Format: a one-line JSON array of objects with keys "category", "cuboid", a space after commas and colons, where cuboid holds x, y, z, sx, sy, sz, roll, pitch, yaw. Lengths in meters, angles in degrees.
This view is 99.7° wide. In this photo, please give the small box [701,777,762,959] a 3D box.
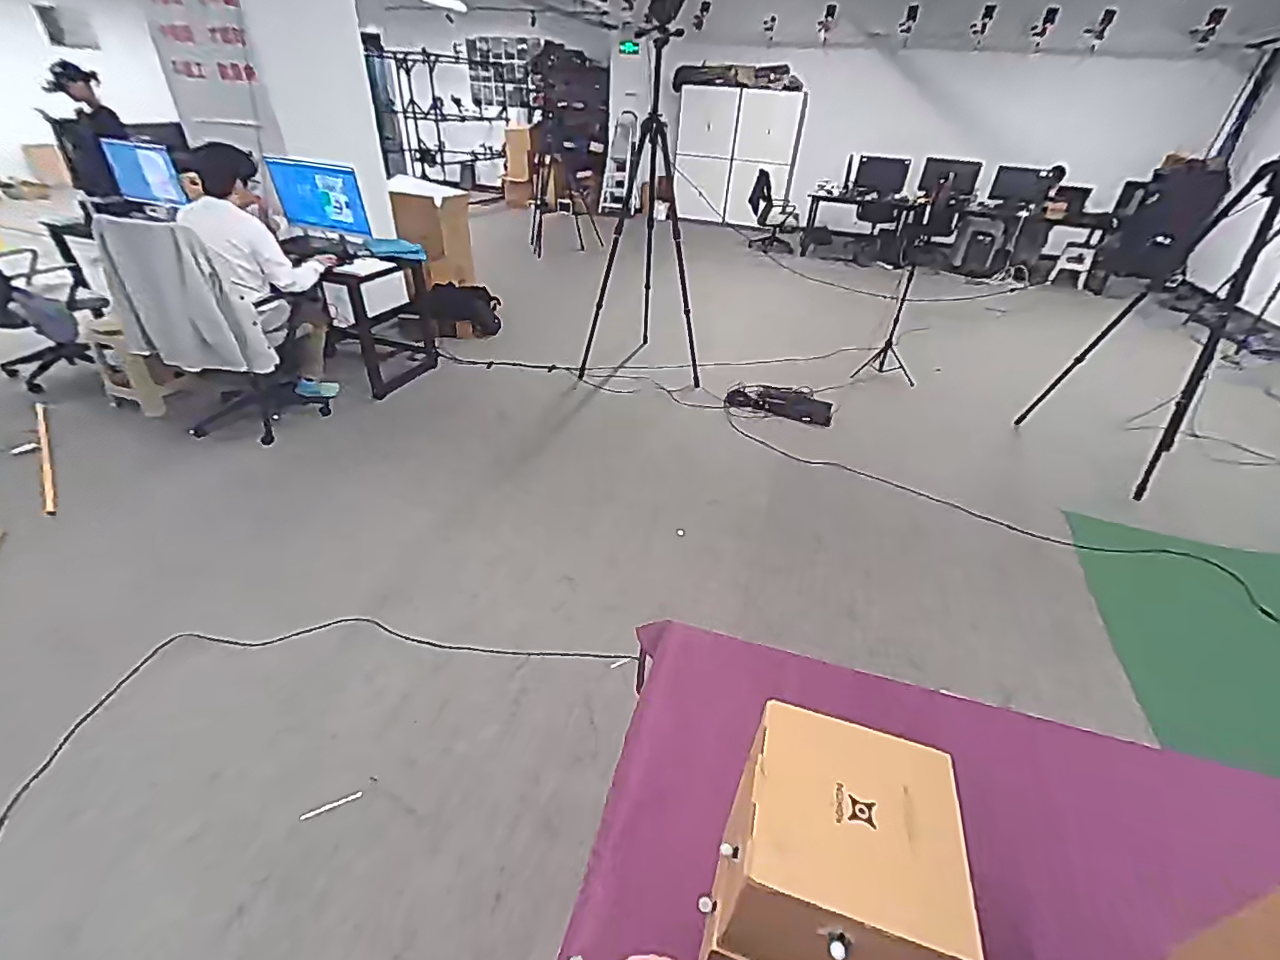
[{"category": "small box", "cuboid": [0.169, 0.482, 0.603, 0.168, 0.176, 0.179, 14, 36, 14]}]

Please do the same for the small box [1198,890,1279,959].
[{"category": "small box", "cuboid": [0.567, 0.453, 0.392, 0.179, 0.176, 0.168, 15, 36, 17]}]

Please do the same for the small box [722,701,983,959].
[{"category": "small box", "cuboid": [0.183, 0.348, 0.509, 0.179, 0.176, 0.168, 13, 37, 13]}]
